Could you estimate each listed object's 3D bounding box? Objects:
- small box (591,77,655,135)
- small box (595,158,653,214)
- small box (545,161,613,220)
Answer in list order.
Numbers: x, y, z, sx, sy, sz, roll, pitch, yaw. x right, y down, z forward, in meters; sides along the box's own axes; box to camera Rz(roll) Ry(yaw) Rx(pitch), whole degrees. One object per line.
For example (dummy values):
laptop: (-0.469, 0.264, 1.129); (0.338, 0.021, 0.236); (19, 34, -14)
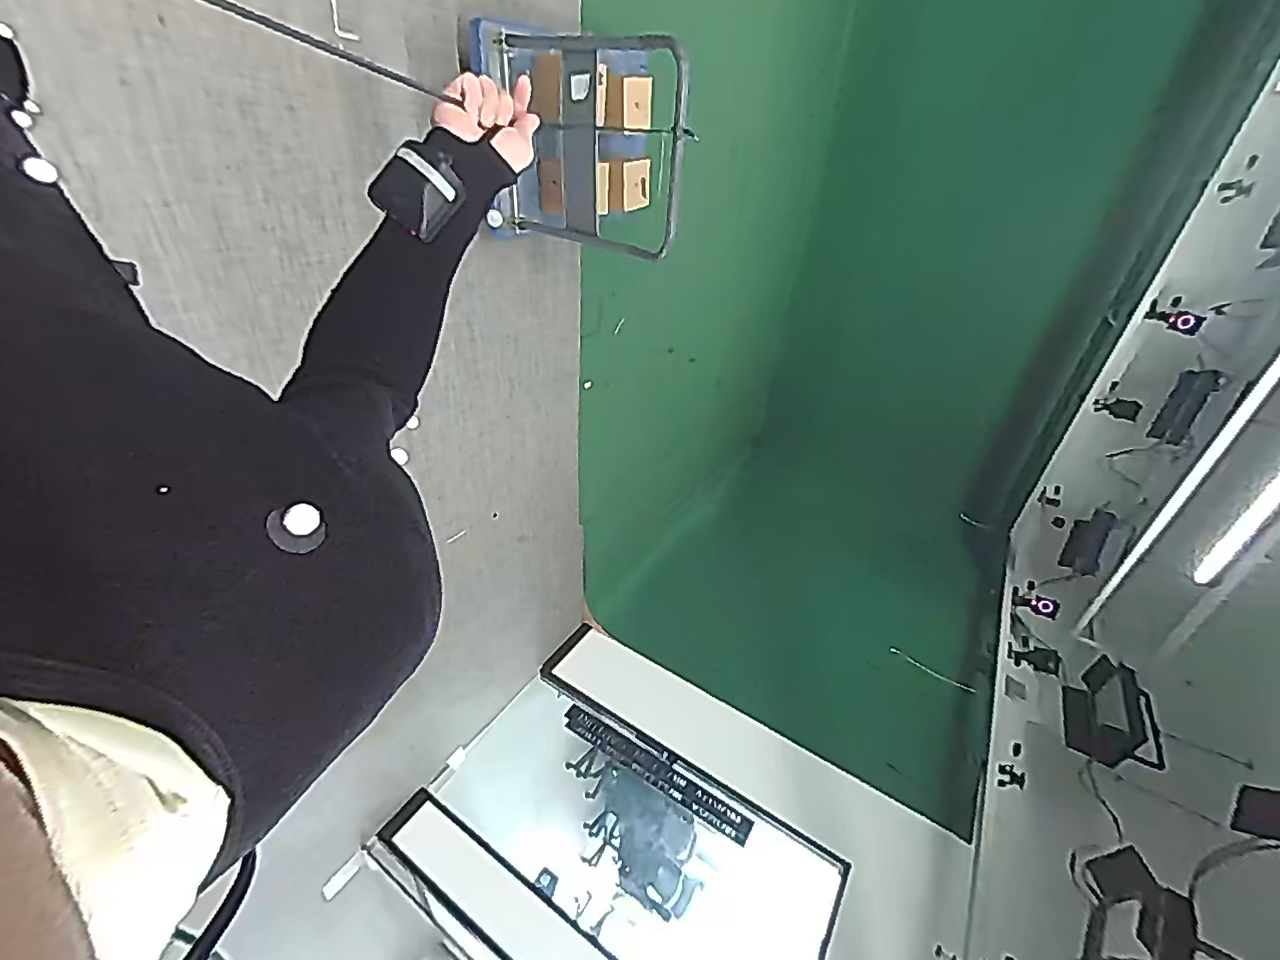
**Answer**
small box: (-0.064, -1.348, 1.948); (0.179, 0.176, 0.168); (-41, 145, -42)
small box: (-0.065, -1.148, 2.101); (0.179, 0.176, 0.168); (-40, 142, -41)
small box: (-0.217, -1.029, 1.912); (0.179, 0.176, 0.168); (-37, 140, -45)
